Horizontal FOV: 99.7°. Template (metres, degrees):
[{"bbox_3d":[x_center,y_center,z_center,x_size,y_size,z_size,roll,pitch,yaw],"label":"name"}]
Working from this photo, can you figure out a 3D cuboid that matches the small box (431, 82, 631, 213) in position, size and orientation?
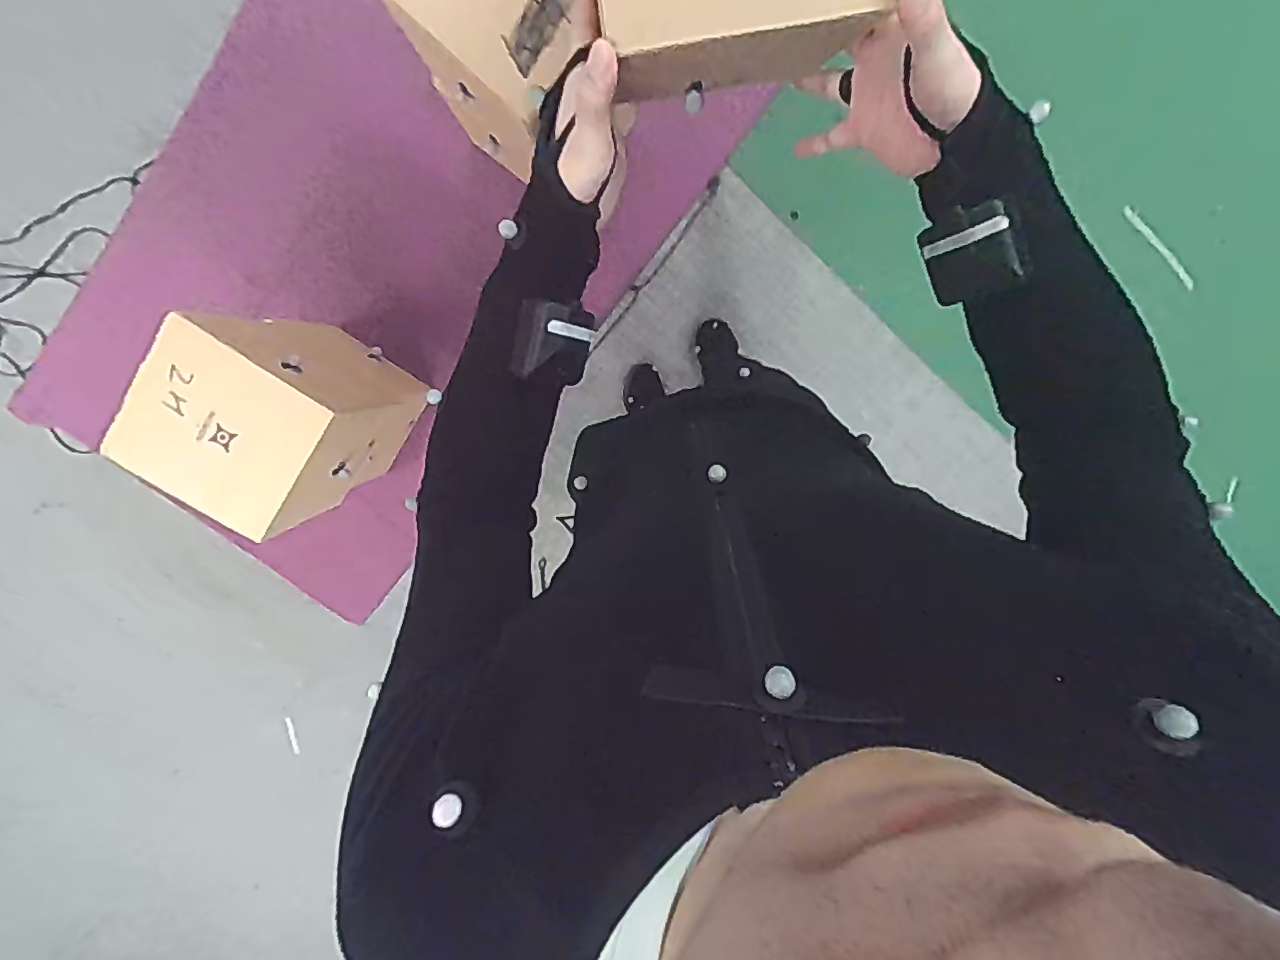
[{"bbox_3d":[-0.122,-0.473,0.692,0.179,0.176,0.168,37,98,-7],"label":"small box"}]

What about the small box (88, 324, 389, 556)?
[{"bbox_3d":[-0.417,-0.050,0.598,0.179,0.176,0.168,34,97,-8],"label":"small box"}]

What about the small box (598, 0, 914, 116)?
[{"bbox_3d":[0.053,-0.348,0.329,0.168,0.176,0.179,-7,116,1],"label":"small box"}]

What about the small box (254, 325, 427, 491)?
[{"bbox_3d":[-0.437,-0.092,0.758,0.179,0.176,0.168,33,99,-7],"label":"small box"}]

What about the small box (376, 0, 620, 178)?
[{"bbox_3d":[-0.113,-0.435,0.532,0.179,0.176,0.168,40,98,-6],"label":"small box"}]
